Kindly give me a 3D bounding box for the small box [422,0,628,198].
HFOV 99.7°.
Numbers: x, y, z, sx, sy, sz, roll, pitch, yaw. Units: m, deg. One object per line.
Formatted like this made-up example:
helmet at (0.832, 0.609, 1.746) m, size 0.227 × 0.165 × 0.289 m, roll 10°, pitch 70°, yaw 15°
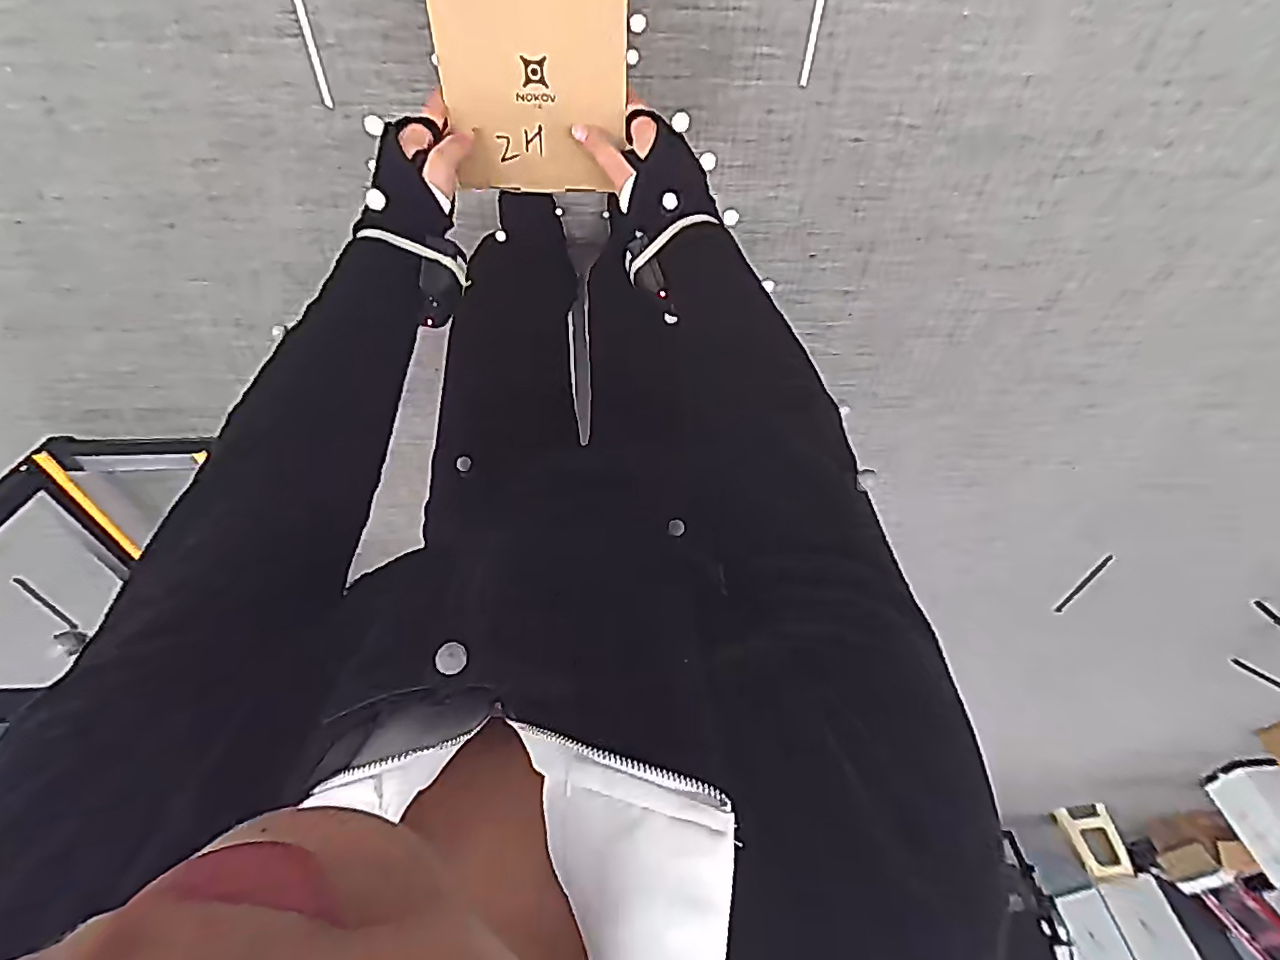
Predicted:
small box at (-0.097, -0.396, 0.528) m, size 0.168 × 0.176 × 0.179 m, roll 0°, pitch 133°, yaw -2°
